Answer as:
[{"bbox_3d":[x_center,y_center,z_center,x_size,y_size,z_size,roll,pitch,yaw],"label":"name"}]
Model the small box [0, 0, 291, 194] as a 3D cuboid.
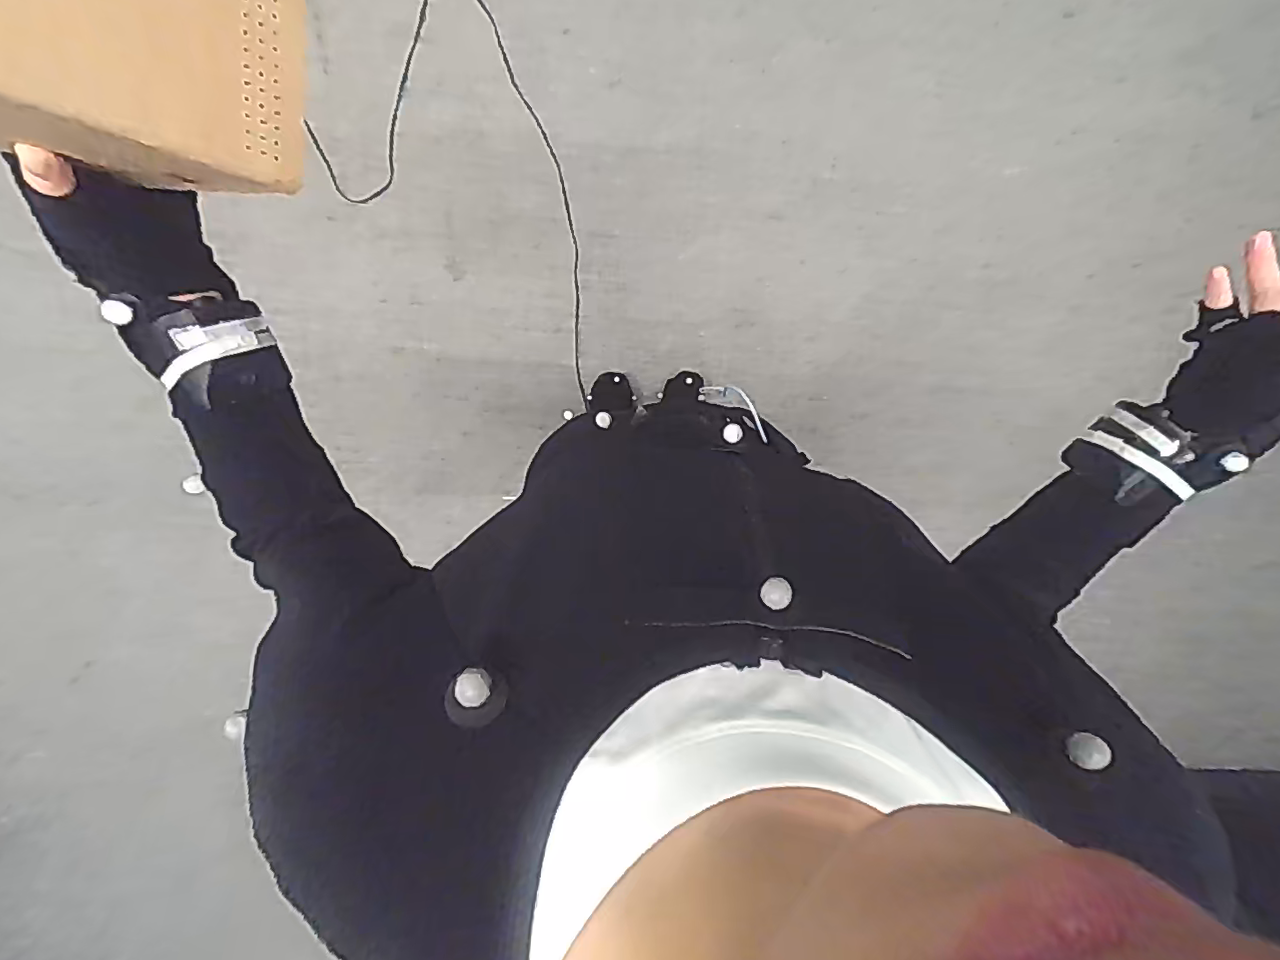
[{"bbox_3d":[-0.255,-0.229,0.194,0.168,0.176,0.179,15,104,20],"label":"small box"}]
